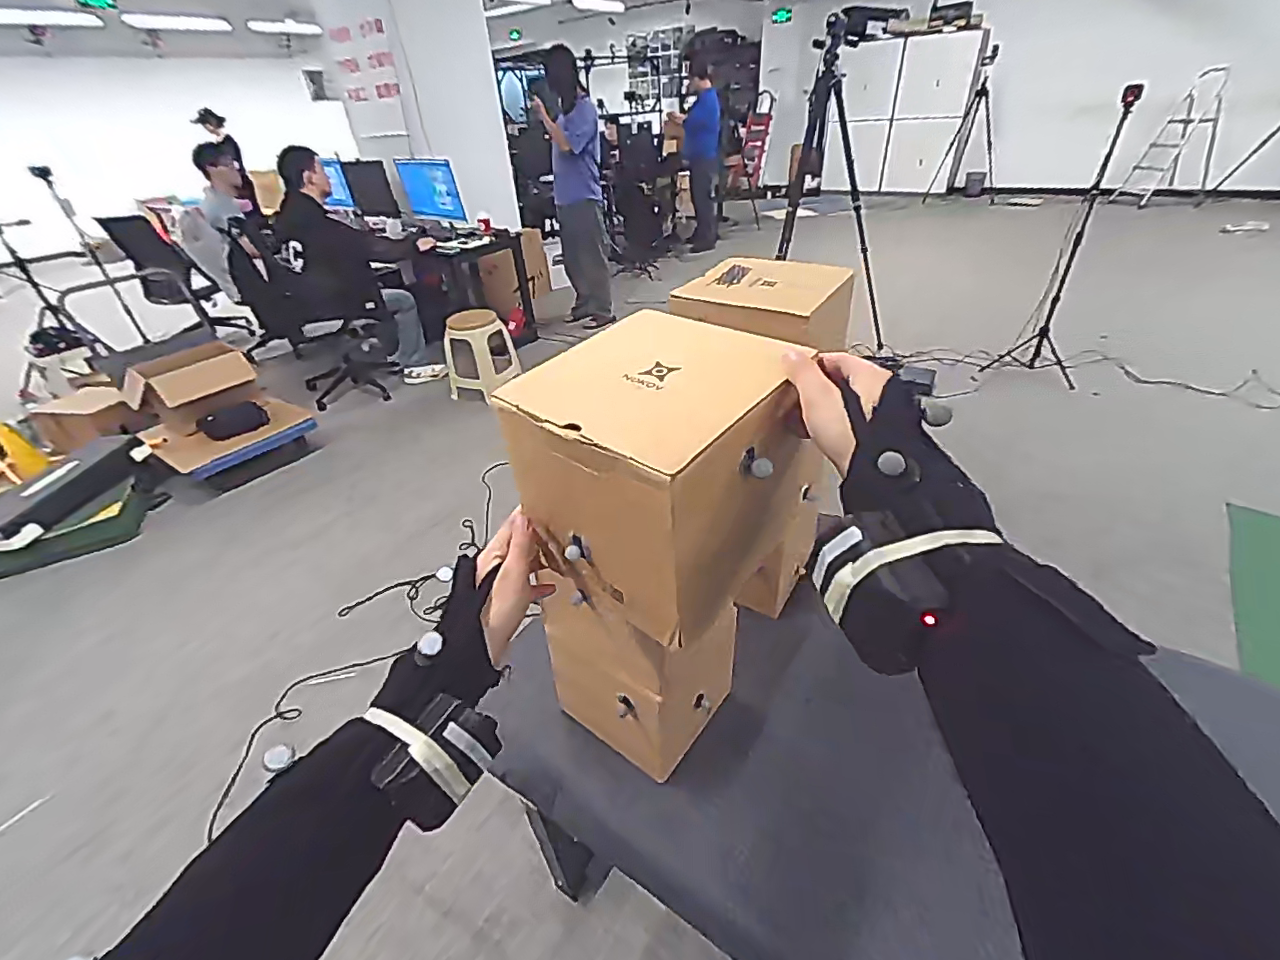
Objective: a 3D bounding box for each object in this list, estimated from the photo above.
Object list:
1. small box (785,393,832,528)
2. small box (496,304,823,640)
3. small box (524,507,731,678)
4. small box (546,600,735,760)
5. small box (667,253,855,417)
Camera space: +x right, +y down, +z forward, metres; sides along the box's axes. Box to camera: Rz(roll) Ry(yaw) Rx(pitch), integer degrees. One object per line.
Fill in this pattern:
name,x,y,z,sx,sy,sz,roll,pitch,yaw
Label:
small box,0.166,-0.053,0.803,0.179,0.176,0.168,19,44,27
small box,0.020,-0.014,0.429,0.168,0.176,0.179,26,50,32
small box,-0.003,0.090,0.617,0.179,0.176,0.168,19,40,29
small box,0.004,0.228,0.706,0.179,0.176,0.168,22,41,32
small box,0.152,-0.178,0.697,0.179,0.176,0.168,20,45,28
